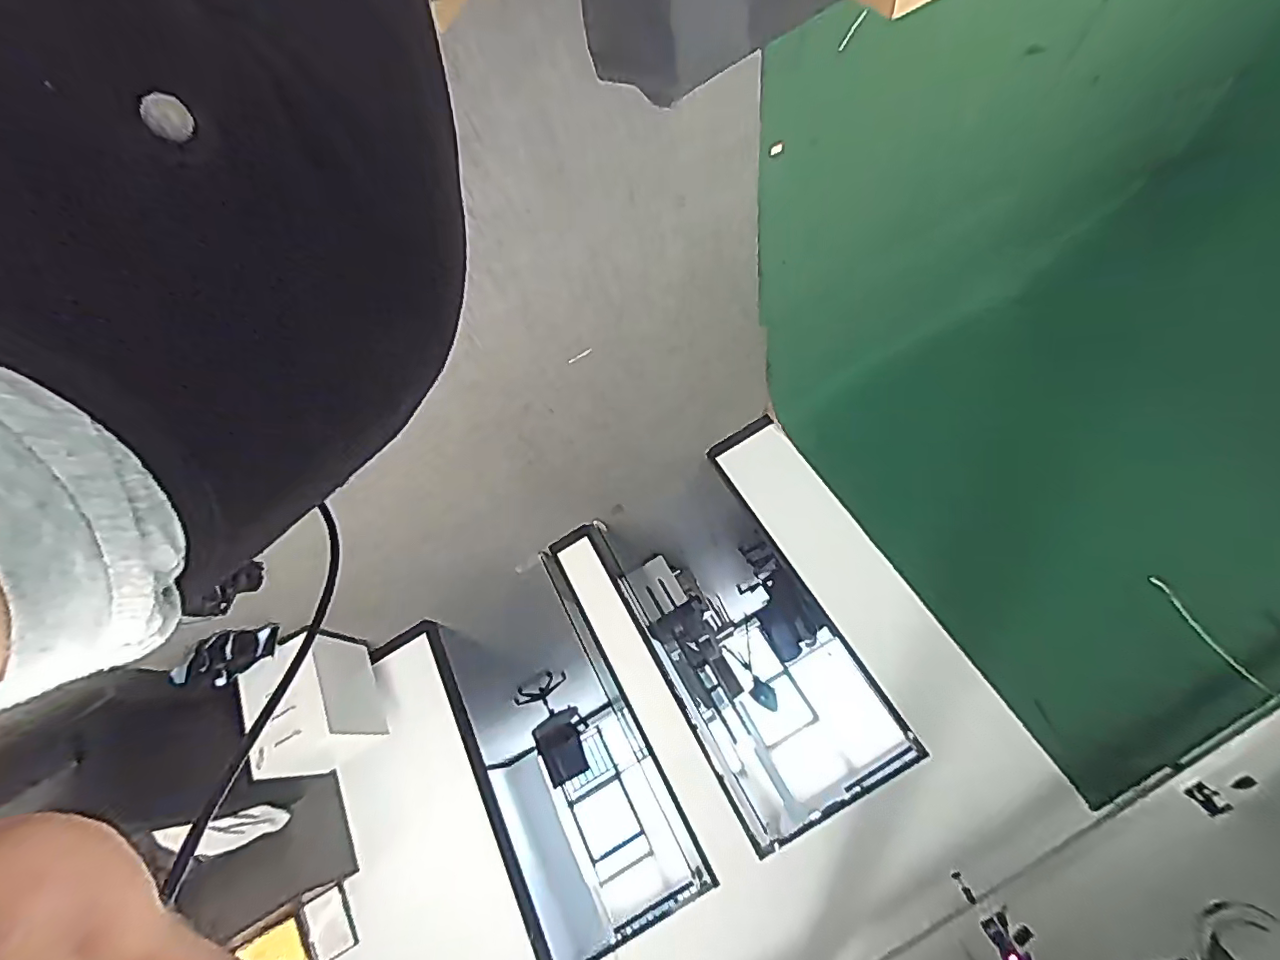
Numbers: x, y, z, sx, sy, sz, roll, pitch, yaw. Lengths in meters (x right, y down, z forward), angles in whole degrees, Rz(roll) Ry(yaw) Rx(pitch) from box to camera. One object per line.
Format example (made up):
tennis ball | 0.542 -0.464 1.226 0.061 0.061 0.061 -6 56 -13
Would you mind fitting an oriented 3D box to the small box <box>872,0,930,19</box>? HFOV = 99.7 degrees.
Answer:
small box | 0.342 -0.737 0.672 0.168 0.176 0.179 -30 155 -5
